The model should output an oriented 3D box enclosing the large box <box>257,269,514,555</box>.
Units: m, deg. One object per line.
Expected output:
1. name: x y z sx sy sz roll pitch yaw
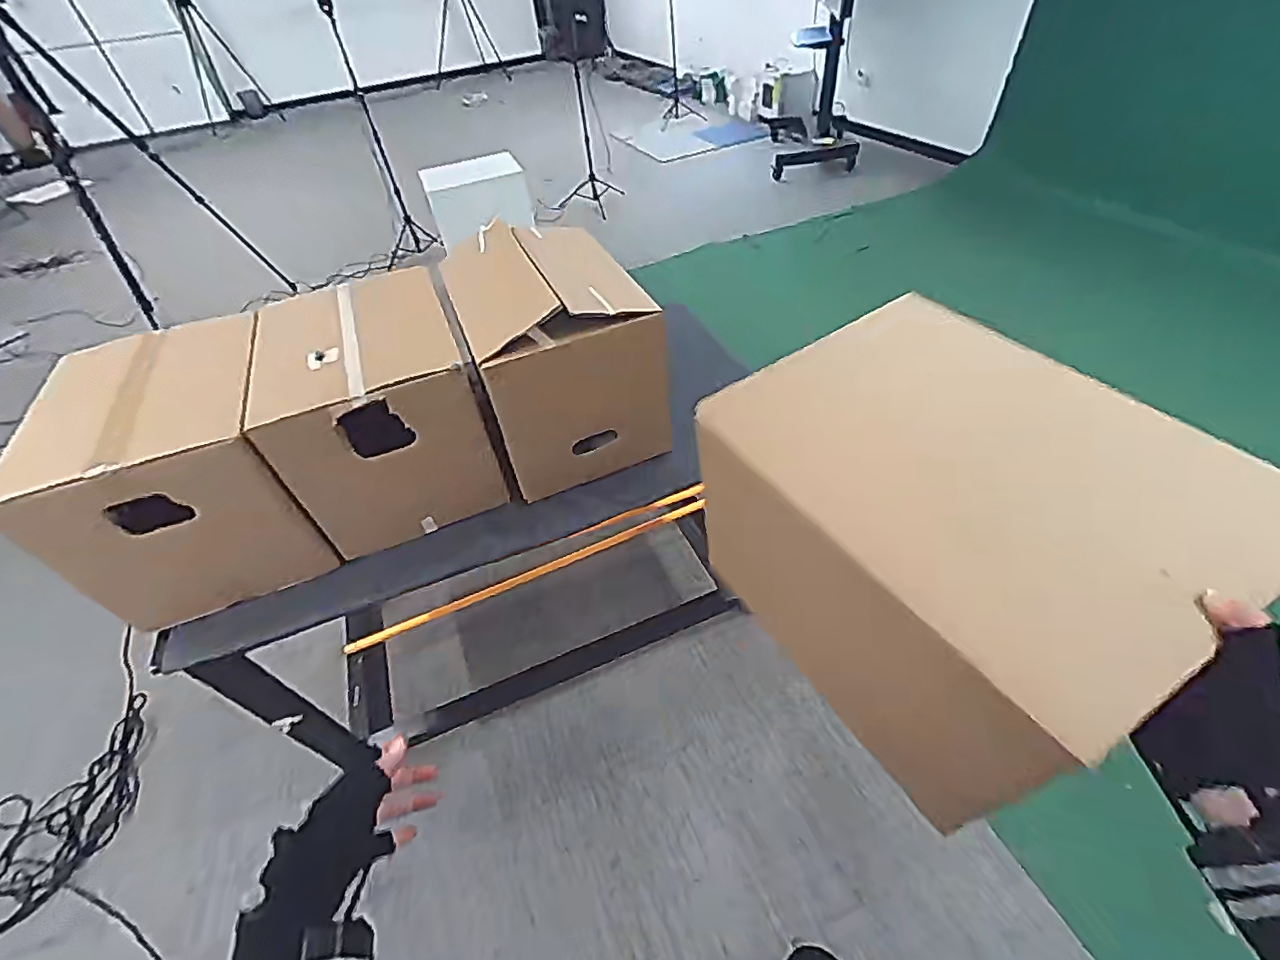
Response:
1. large box: -0.466 -0.140 1.020 0.320 0.320 0.408 -21 49 -13
